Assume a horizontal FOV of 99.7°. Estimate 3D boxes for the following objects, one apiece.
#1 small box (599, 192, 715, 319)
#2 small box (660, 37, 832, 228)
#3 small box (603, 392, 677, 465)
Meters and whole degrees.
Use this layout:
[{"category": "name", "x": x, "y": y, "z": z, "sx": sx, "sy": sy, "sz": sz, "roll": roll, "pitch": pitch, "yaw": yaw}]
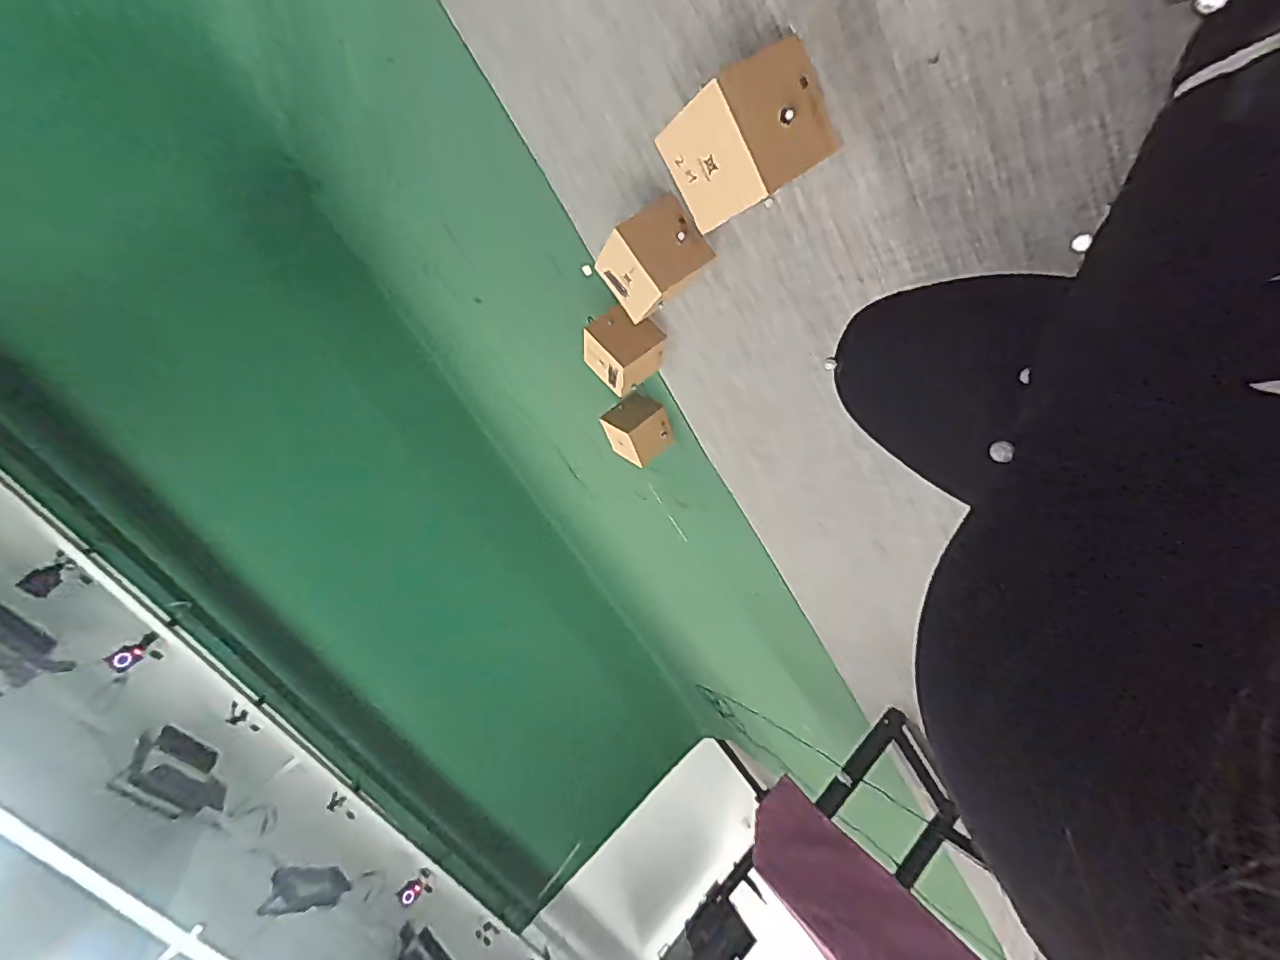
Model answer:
[{"category": "small box", "x": 0.038, "y": -0.500, "z": 1.215, "sx": 0.168, "sy": 0.176, "sz": 0.179, "roll": 53, "pitch": 161, "yaw": -7}, {"category": "small box", "x": 0.170, "y": -0.533, "z": 0.840, "sx": 0.168, "sy": 0.176, "sz": 0.179, "roll": 58, "pitch": 161, "yaw": -19}, {"category": "small box", "x": 0.003, "y": -0.188, "z": 1.915, "sx": 0.179, "sy": 0.176, "sz": 0.168, "roll": 33, "pitch": 155, "yaw": 43}]
